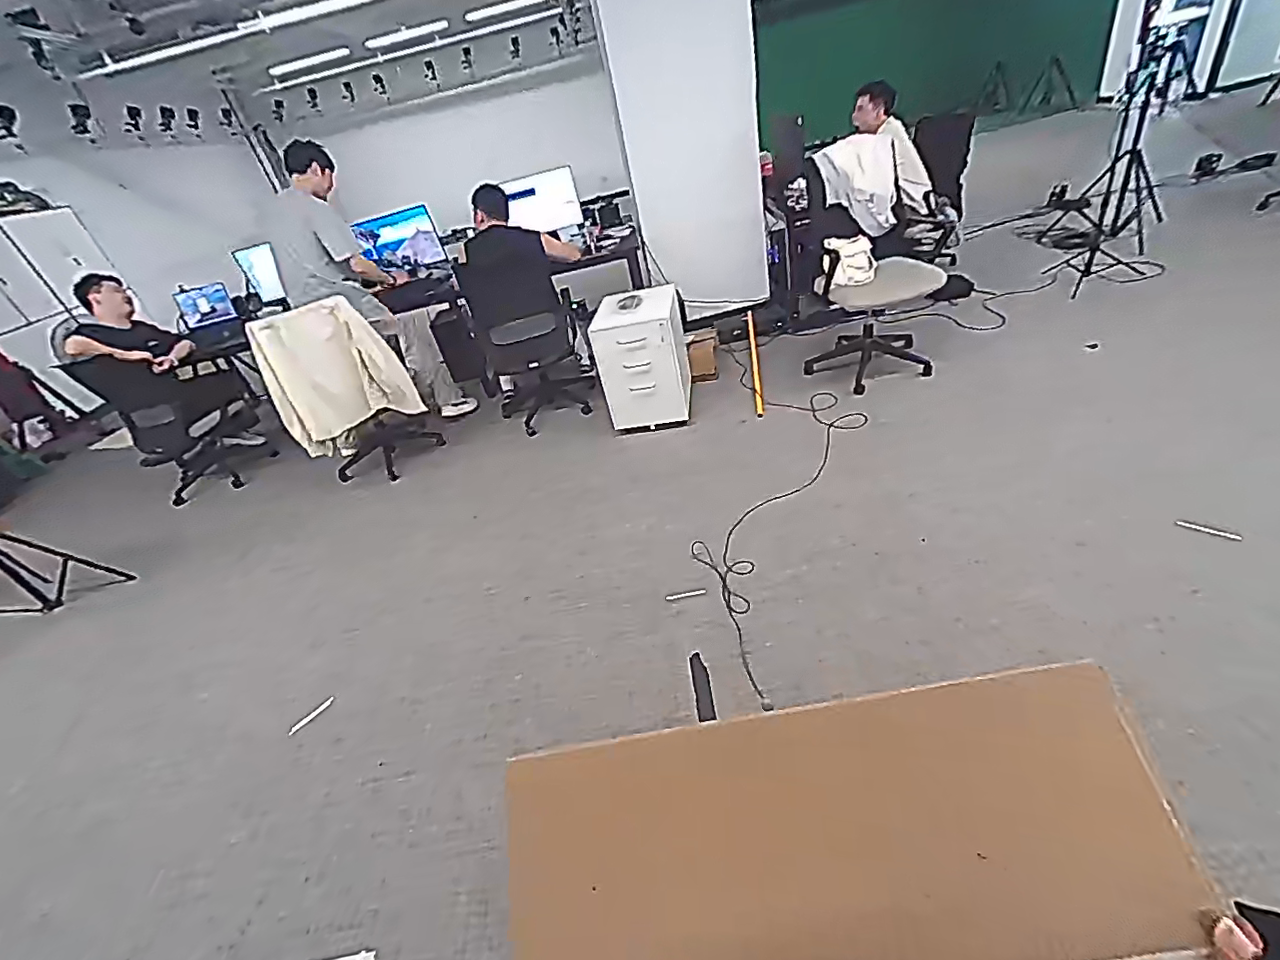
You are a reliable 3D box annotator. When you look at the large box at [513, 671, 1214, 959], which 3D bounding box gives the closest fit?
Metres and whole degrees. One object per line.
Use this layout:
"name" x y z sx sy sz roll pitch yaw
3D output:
"large box" 0.150 0.366 0.446 0.408 0.320 0.320 -12 64 4
